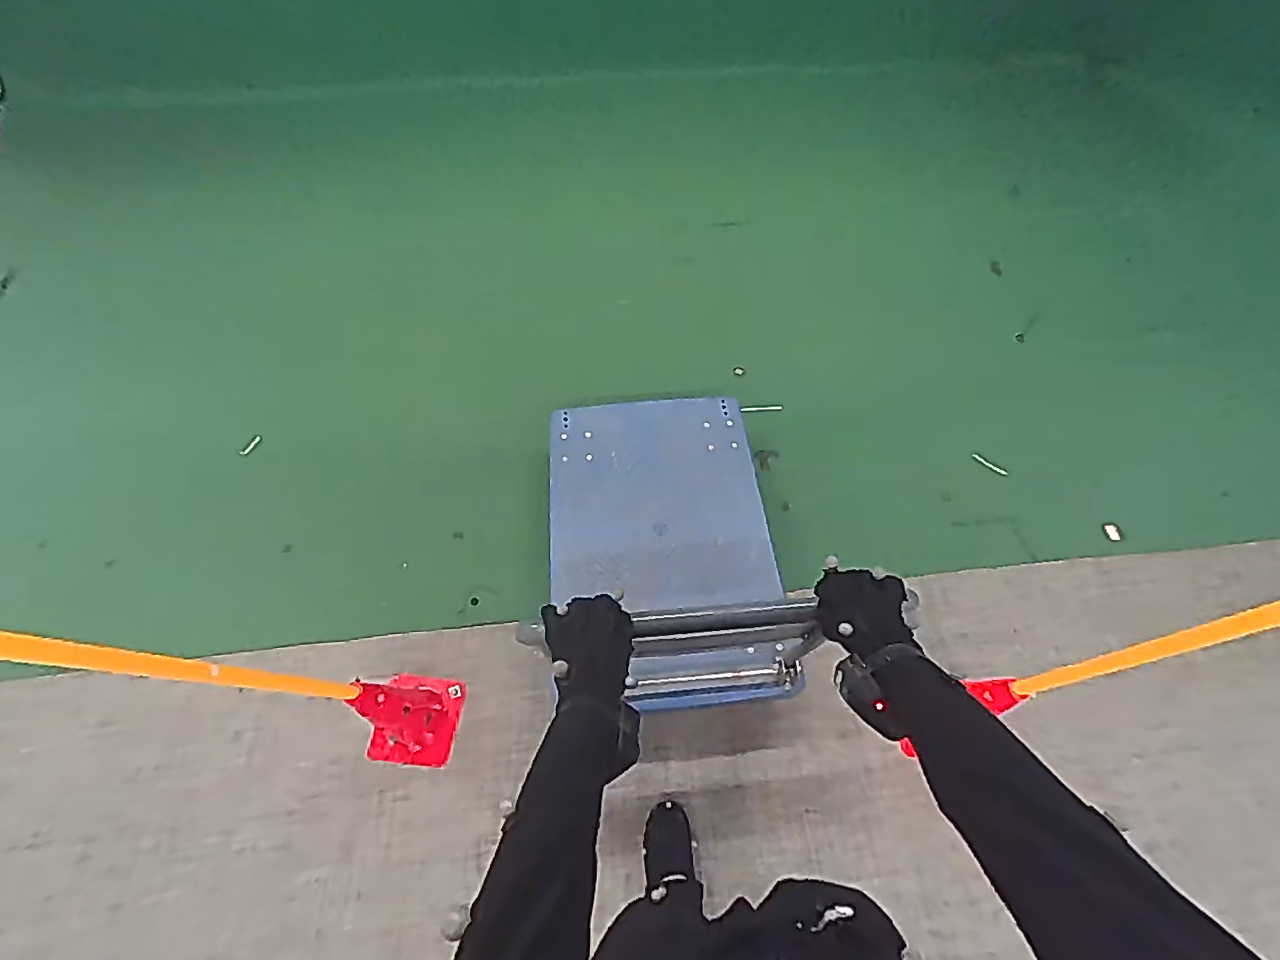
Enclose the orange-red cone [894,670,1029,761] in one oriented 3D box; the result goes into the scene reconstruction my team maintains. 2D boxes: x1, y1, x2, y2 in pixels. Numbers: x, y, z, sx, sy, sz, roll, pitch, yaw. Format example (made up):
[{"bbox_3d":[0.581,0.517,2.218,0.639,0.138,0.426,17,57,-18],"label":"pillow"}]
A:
[{"bbox_3d":[0.737,0.494,1.192,0.198,0.360,0.199,4,60,4],"label":"orange-red cone"}]
